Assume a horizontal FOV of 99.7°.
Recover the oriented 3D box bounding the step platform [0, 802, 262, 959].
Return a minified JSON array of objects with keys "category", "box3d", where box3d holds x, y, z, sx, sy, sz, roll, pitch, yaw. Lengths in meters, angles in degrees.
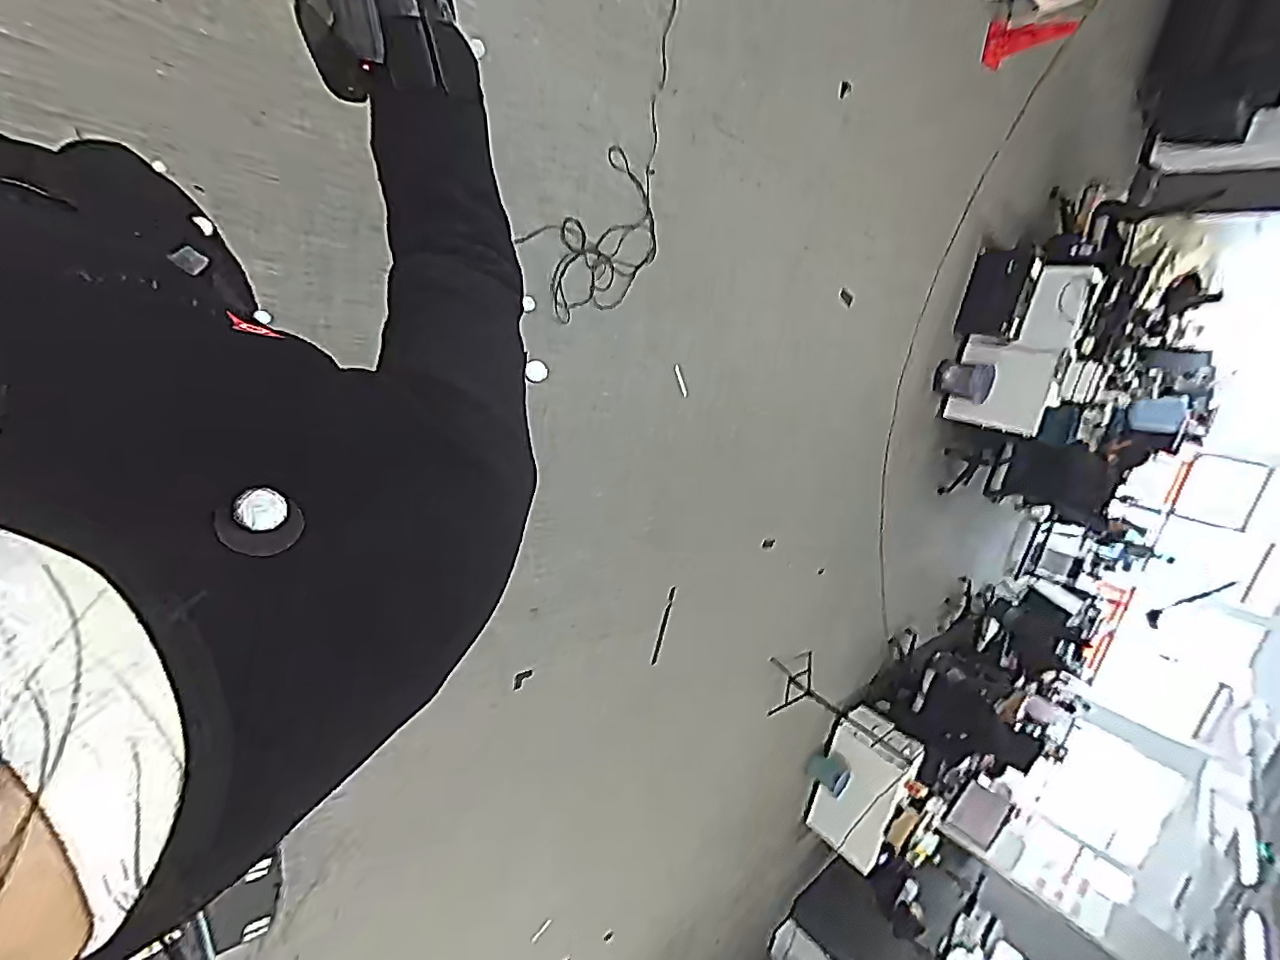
[{"category":"step platform","box3d":[-1.283,1.041,1.238,0.684,0.204,0.286,-1,109,-41]}]
